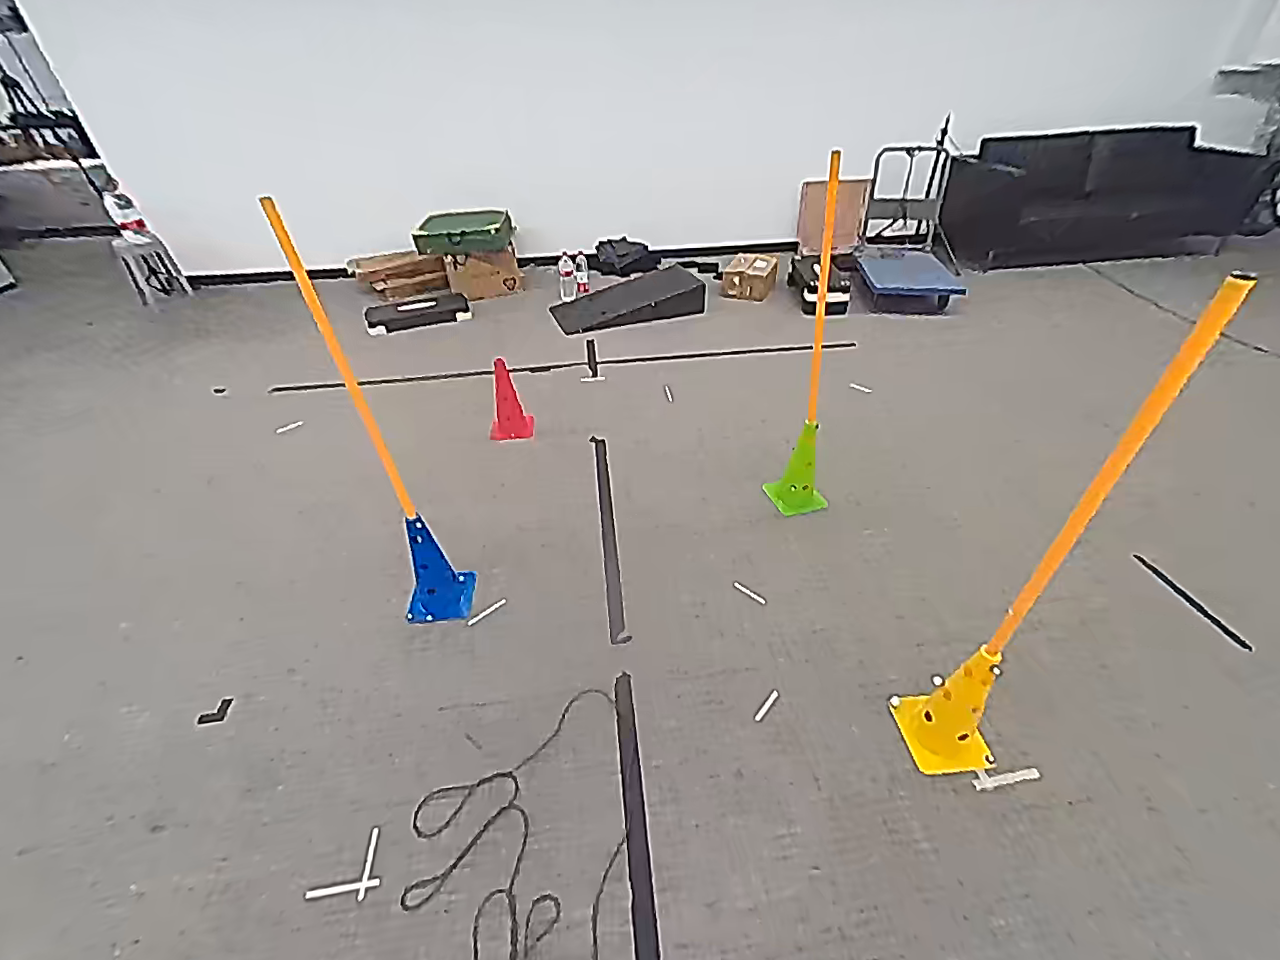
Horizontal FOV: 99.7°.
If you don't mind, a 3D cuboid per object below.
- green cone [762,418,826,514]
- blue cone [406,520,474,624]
[{"bbox_3d":[0.612,-0.078,2.057,0.200,0.368,0.202,-12,41,-13],"label":"green cone"},{"bbox_3d":[-0.656,0.266,1.687,0.193,0.380,0.192,-4,39,-2],"label":"blue cone"}]
